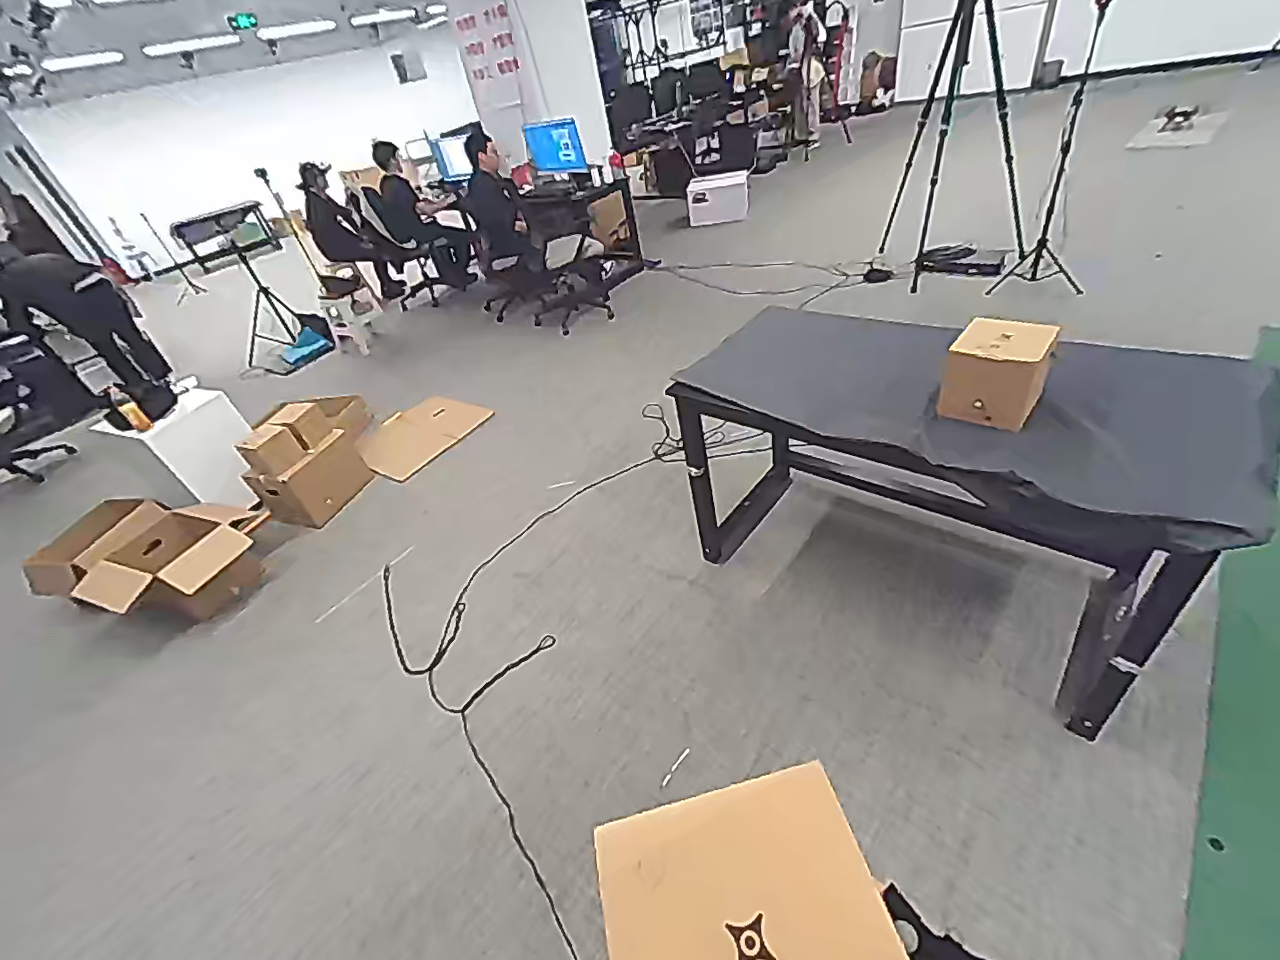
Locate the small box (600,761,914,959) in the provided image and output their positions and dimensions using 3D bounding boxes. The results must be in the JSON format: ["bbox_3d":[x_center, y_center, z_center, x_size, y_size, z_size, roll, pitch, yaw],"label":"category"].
[{"bbox_3d":[0.078,0.328,0.360,0.168,0.176,0.179,-14,41,-4],"label":"small box"}]

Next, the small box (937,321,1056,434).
[{"bbox_3d":[0.785,-0.230,1.204,0.168,0.176,0.179,23,50,37],"label":"small box"}]
